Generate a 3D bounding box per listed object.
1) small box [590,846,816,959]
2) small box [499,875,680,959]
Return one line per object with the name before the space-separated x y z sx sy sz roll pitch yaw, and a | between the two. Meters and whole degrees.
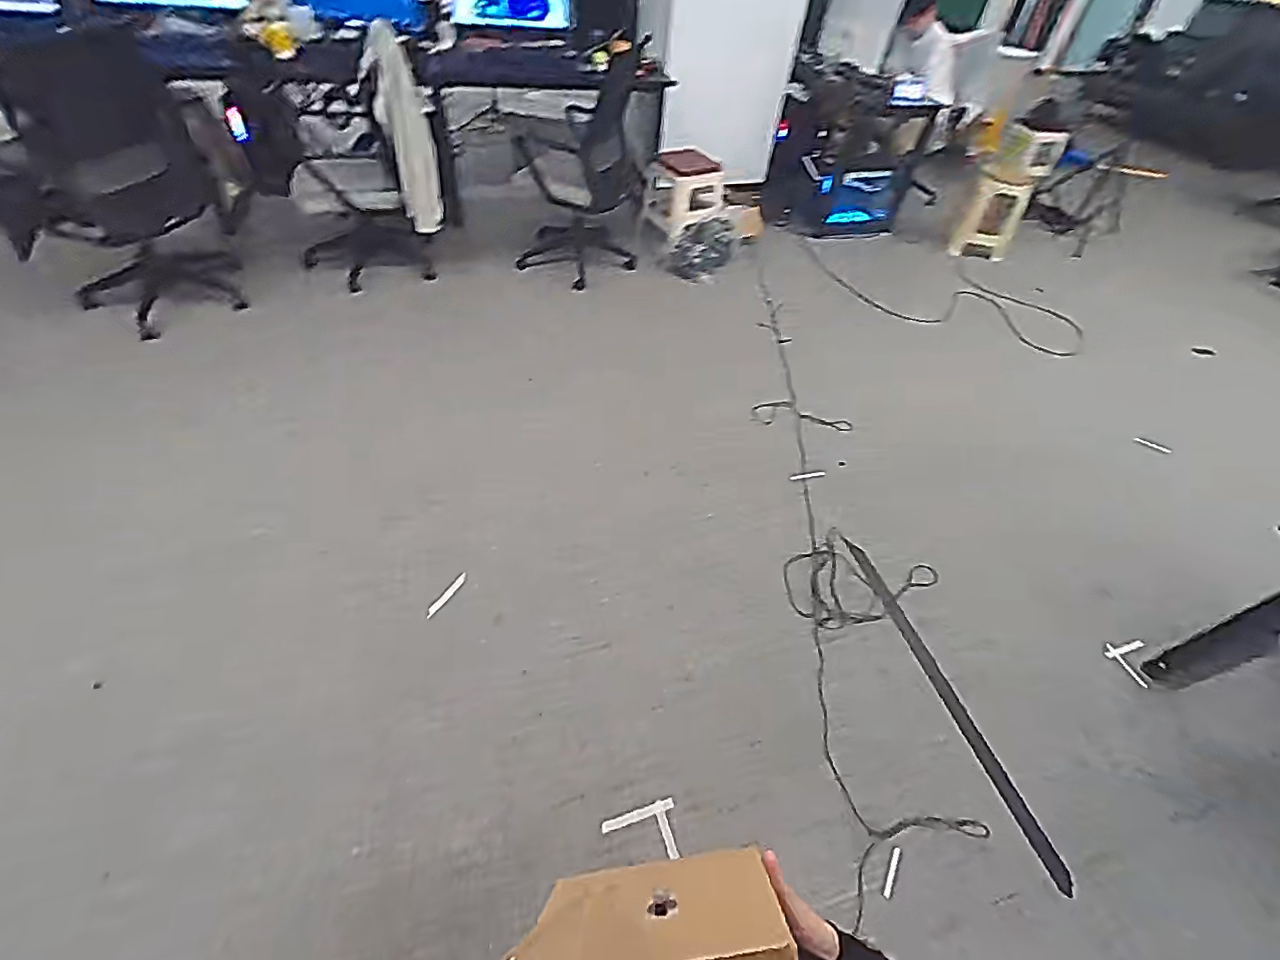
small box | 0.031 0.379 0.368 0.179 0.176 0.168 -9 72 0
small box | -0.028 0.319 0.218 0.168 0.176 0.179 -40 75 -9
